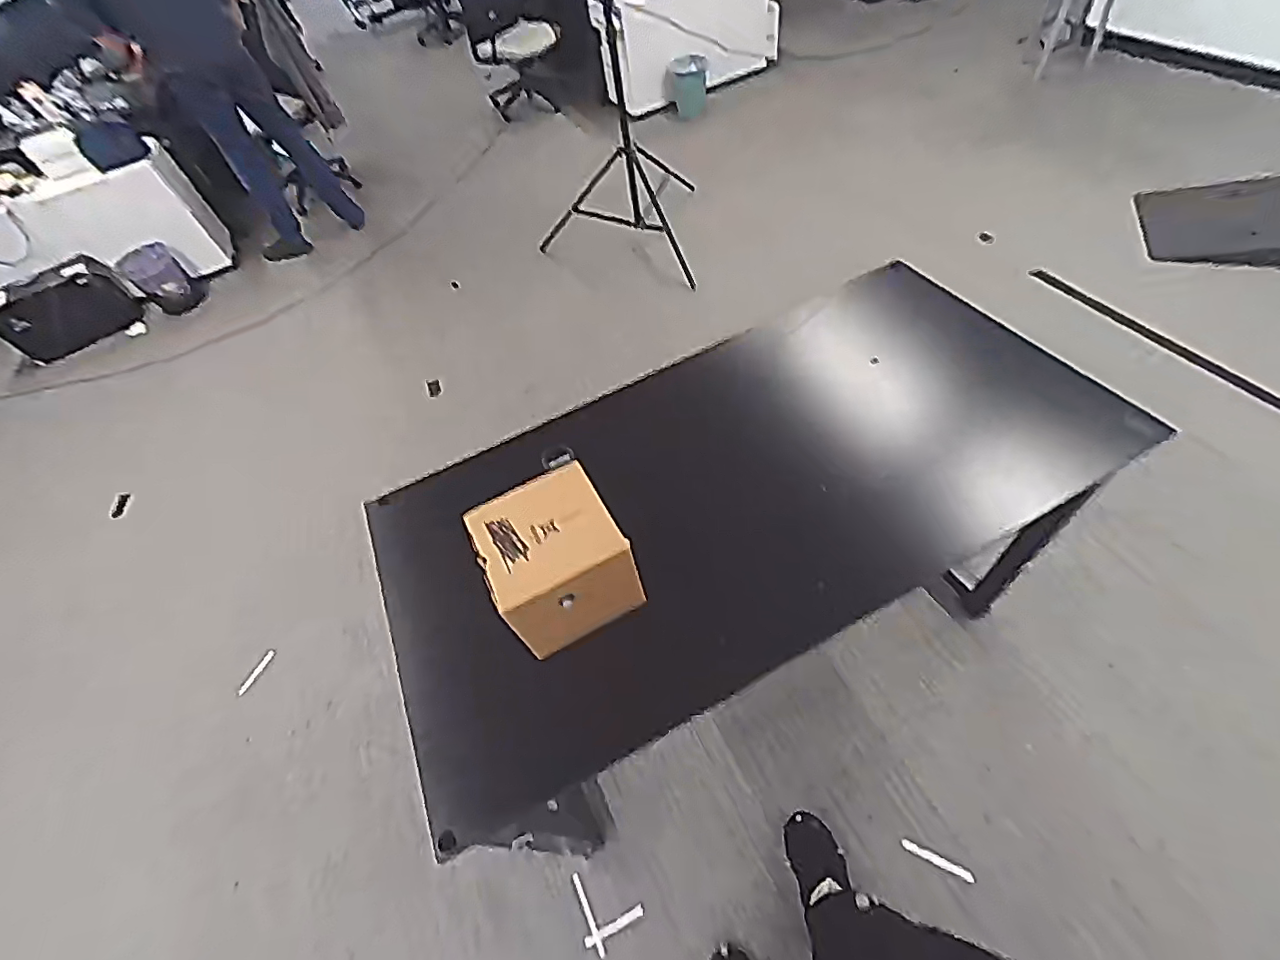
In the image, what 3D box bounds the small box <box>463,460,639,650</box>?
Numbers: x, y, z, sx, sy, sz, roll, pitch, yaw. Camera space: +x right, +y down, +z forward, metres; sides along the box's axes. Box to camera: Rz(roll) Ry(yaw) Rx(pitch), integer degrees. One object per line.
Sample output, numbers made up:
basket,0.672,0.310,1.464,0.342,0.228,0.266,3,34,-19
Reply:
small box,-0.118,0.110,0.761,0.179,0.176,0.168,-26,54,-10
